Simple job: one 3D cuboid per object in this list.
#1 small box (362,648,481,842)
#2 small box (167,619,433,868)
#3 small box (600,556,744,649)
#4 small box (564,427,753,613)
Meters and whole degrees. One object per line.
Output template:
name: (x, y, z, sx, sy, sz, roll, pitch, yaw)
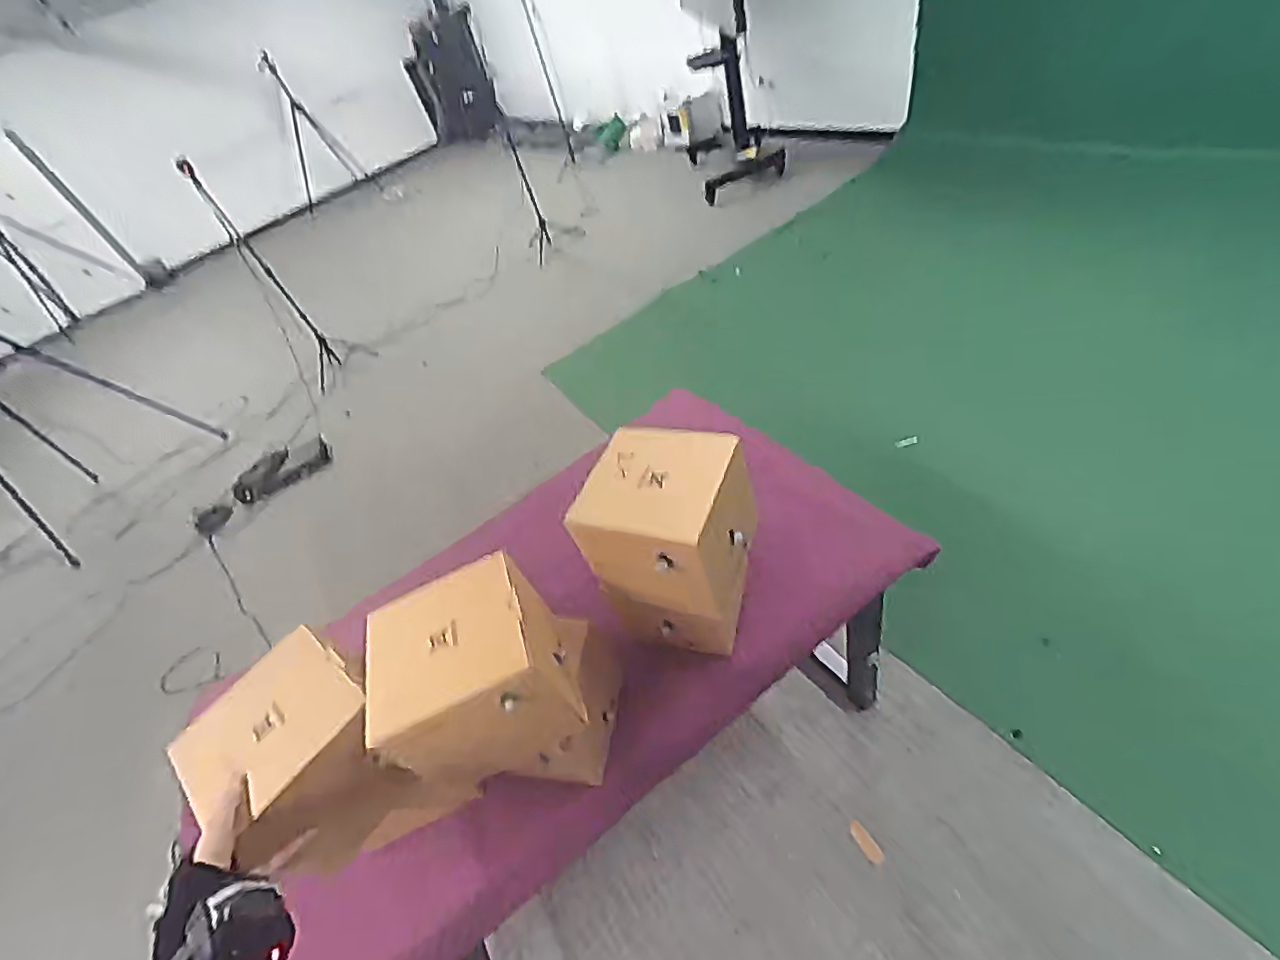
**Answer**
small box: (-0.354, 0.382, 0.774, 0.179, 0.176, 0.168, -25, 44, -5)
small box: (-0.369, 0.301, 0.621, 0.168, 0.176, 0.179, 26, 63, 33)
small box: (0.061, 0.144, 0.846, 0.168, 0.176, 0.179, 1, 49, 23)
small box: (0.038, 0.052, 0.705, 0.179, 0.176, 0.168, 7, 50, 28)
